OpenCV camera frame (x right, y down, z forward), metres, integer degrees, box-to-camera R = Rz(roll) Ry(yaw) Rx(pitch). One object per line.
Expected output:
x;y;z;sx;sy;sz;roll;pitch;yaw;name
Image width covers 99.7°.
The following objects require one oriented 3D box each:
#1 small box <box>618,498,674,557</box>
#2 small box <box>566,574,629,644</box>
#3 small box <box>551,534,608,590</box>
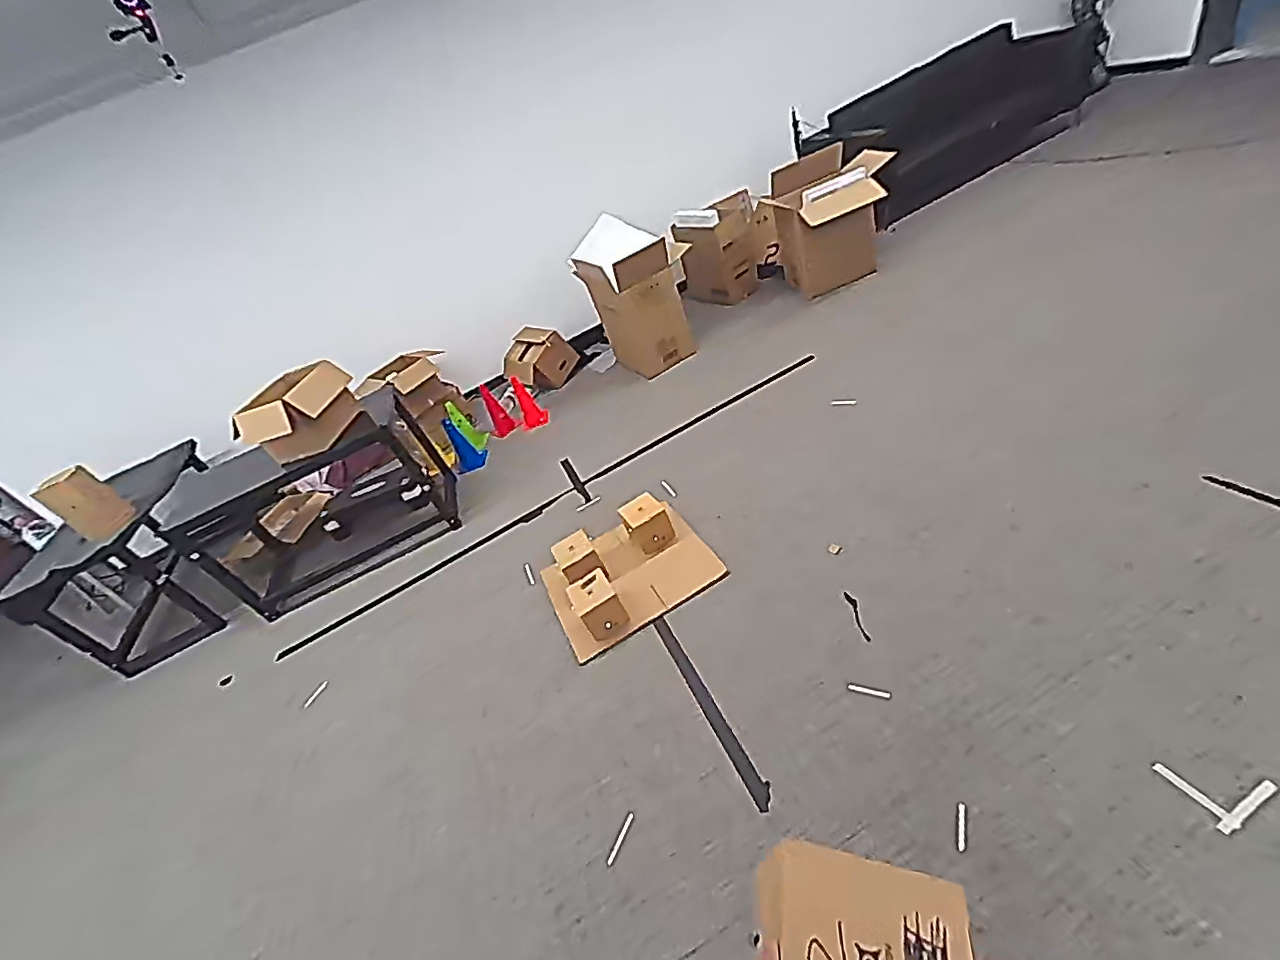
0.030;0.216;2.448;0.168;0.176;0.179;-32;36;-12;small box
-0.168;0.516;2.162;0.168;0.176;0.179;-31;37;-9;small box
-0.267;0.381;2.393;0.168;0.176;0.179;-31;36;-9;small box
